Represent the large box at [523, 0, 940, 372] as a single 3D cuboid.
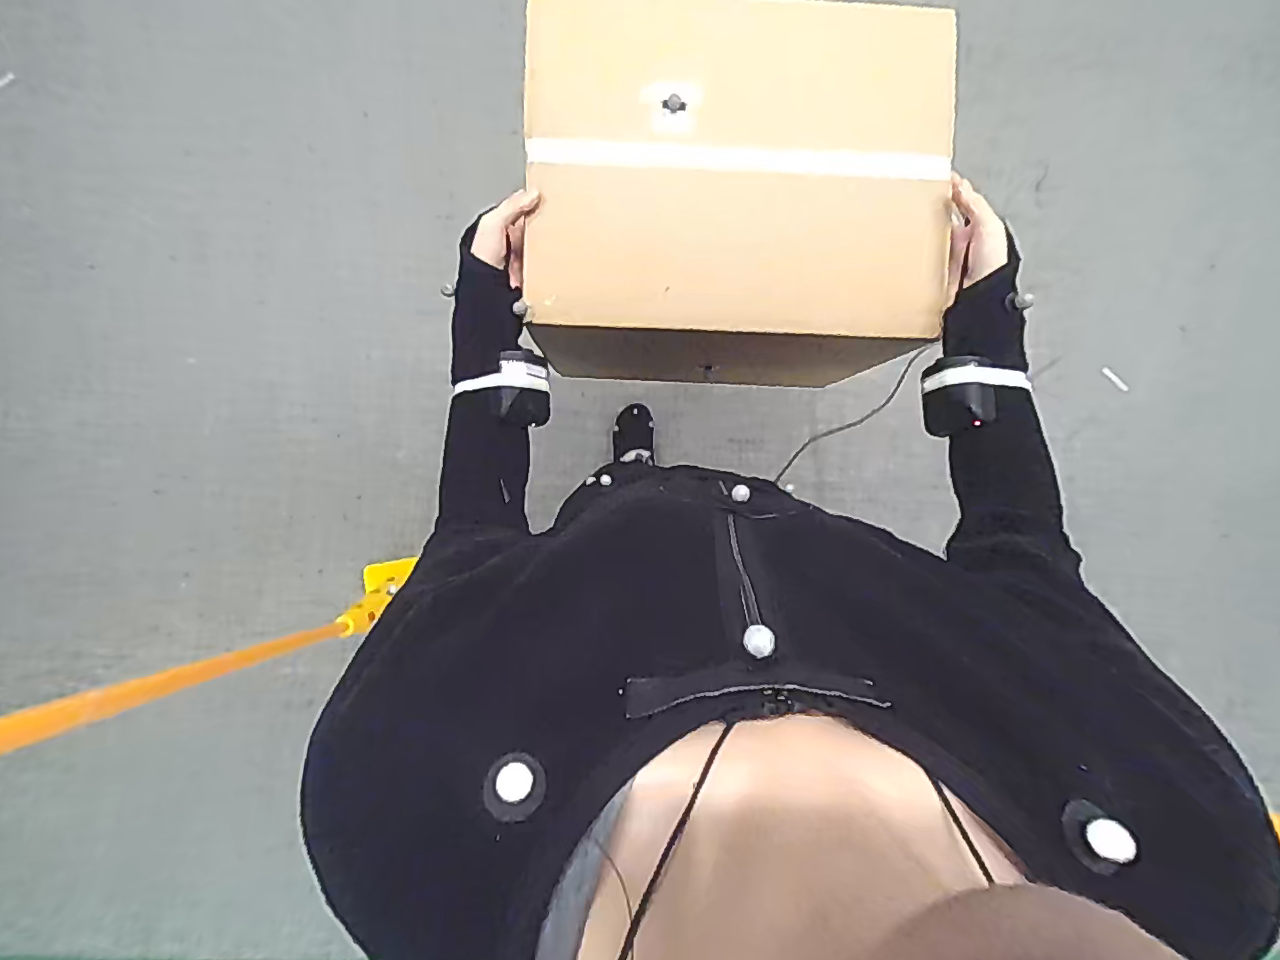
[{"bbox_3d":[0.086,-0.310,0.667,0.408,0.320,0.320,1,91,-1],"label":"large box"}]
